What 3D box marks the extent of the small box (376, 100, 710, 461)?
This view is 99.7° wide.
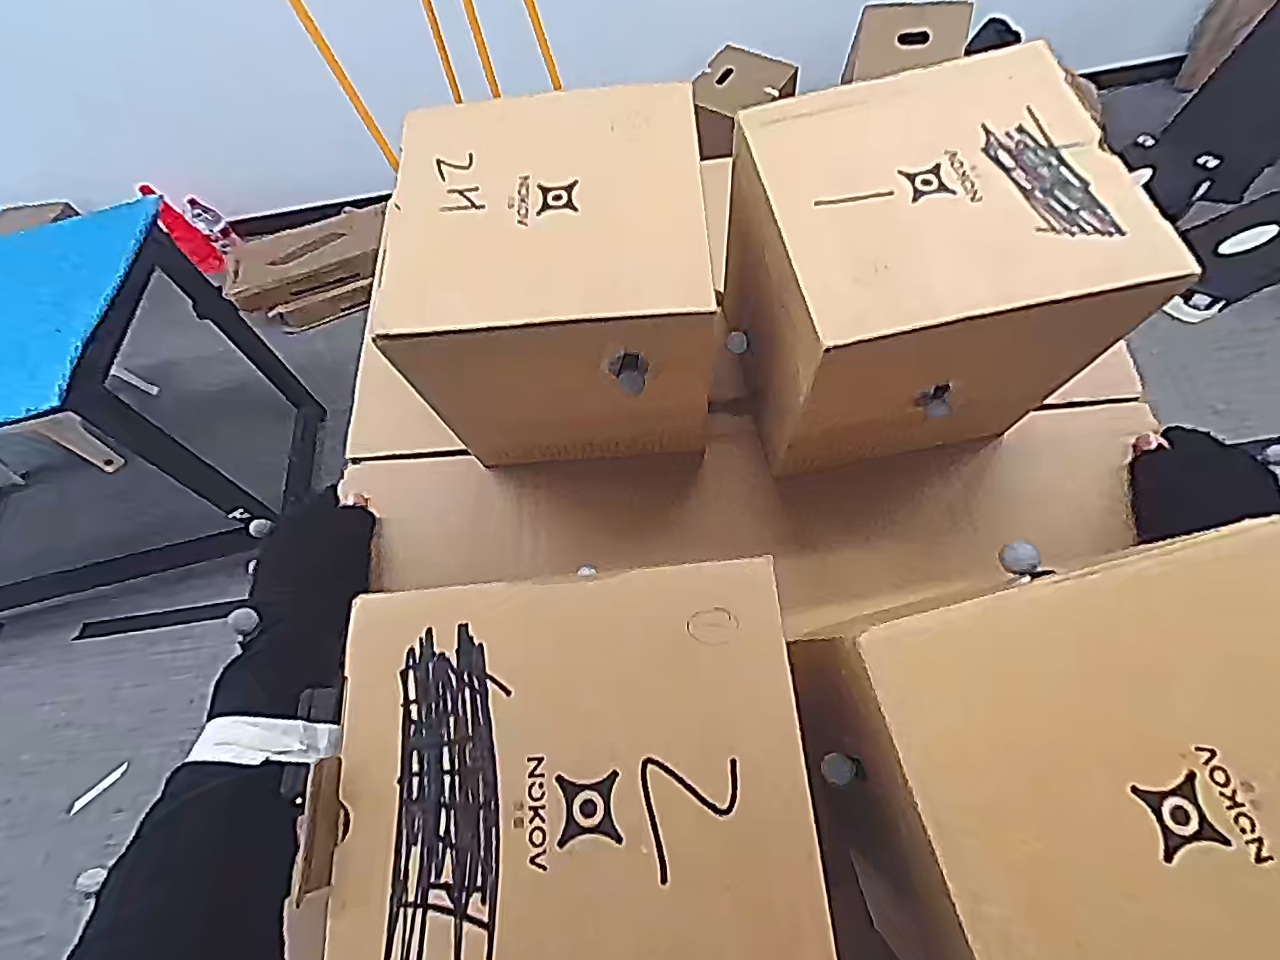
[{"bbox_3d":[-0.047,-0.121,0.378,0.179,0.176,0.168,-3,68,4],"label":"small box"}]
